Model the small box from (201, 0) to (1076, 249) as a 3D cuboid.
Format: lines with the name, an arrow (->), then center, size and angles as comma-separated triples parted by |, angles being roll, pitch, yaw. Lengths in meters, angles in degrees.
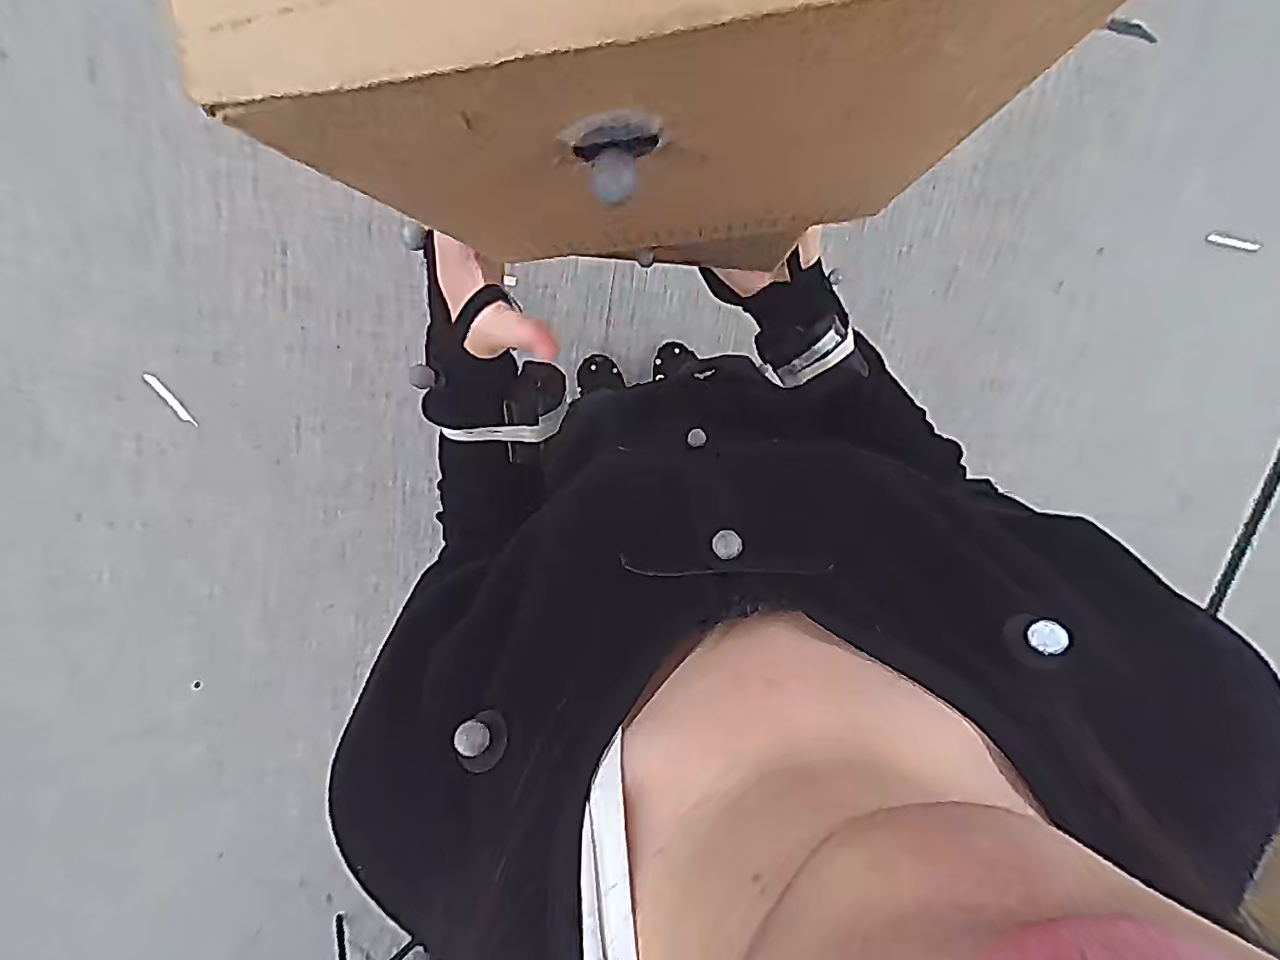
small box -> 0.007, -0.175, 0.154 | 0.179, 0.176, 0.168 | -5, 102, 6

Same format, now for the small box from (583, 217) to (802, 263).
small box -> 0.021, -0.231, 0.310 | 0.168, 0.176, 0.179 | 6, 103, 5
